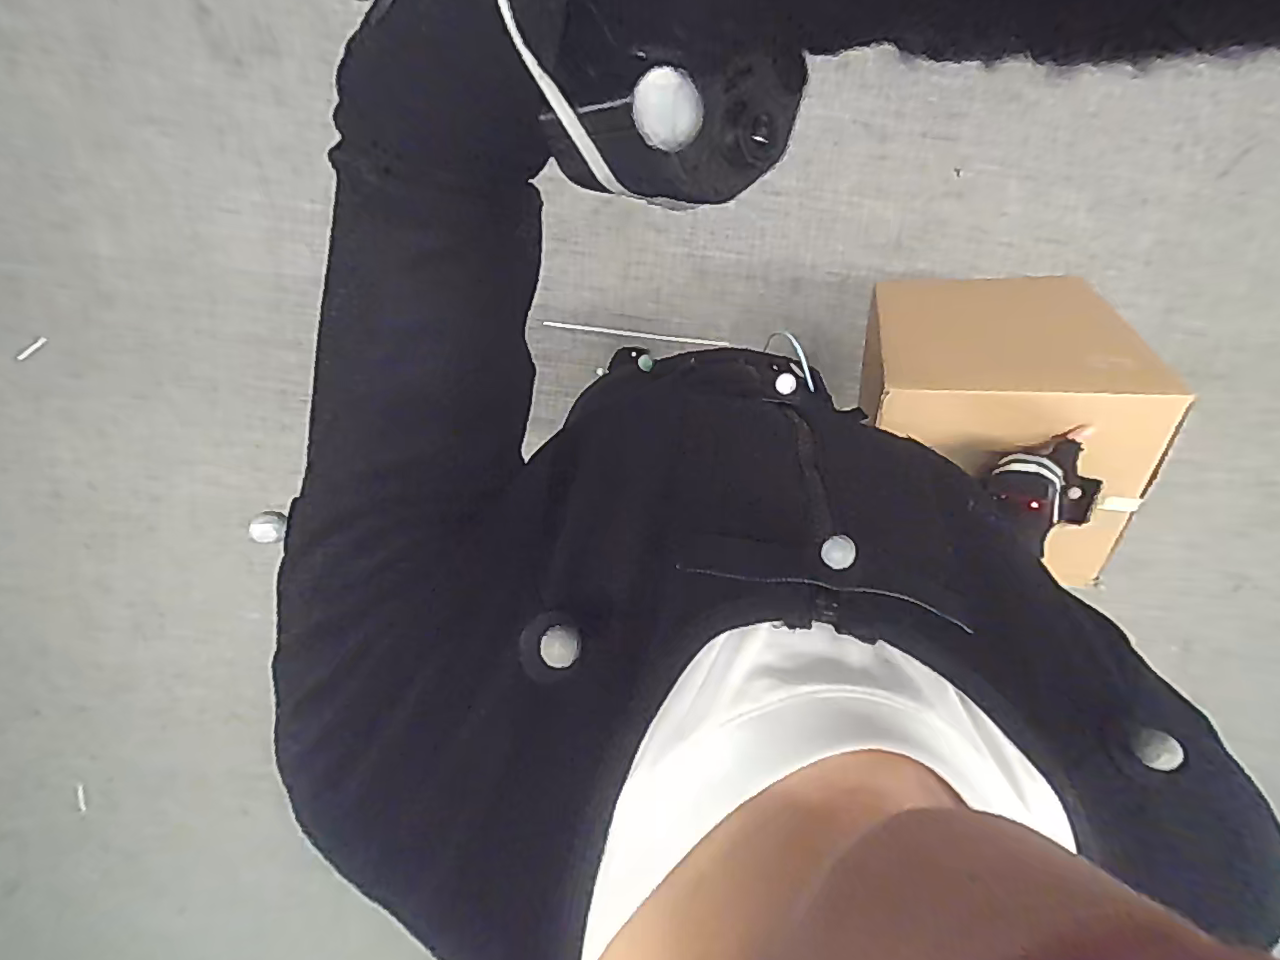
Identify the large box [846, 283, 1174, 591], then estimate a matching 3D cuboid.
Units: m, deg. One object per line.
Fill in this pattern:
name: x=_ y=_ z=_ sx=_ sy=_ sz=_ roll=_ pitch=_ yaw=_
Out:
large box: x=0.515 y=-0.097 z=0.864 sx=0.320 sy=0.408 sz=0.320 roll=5 pitch=129 yaw=19
